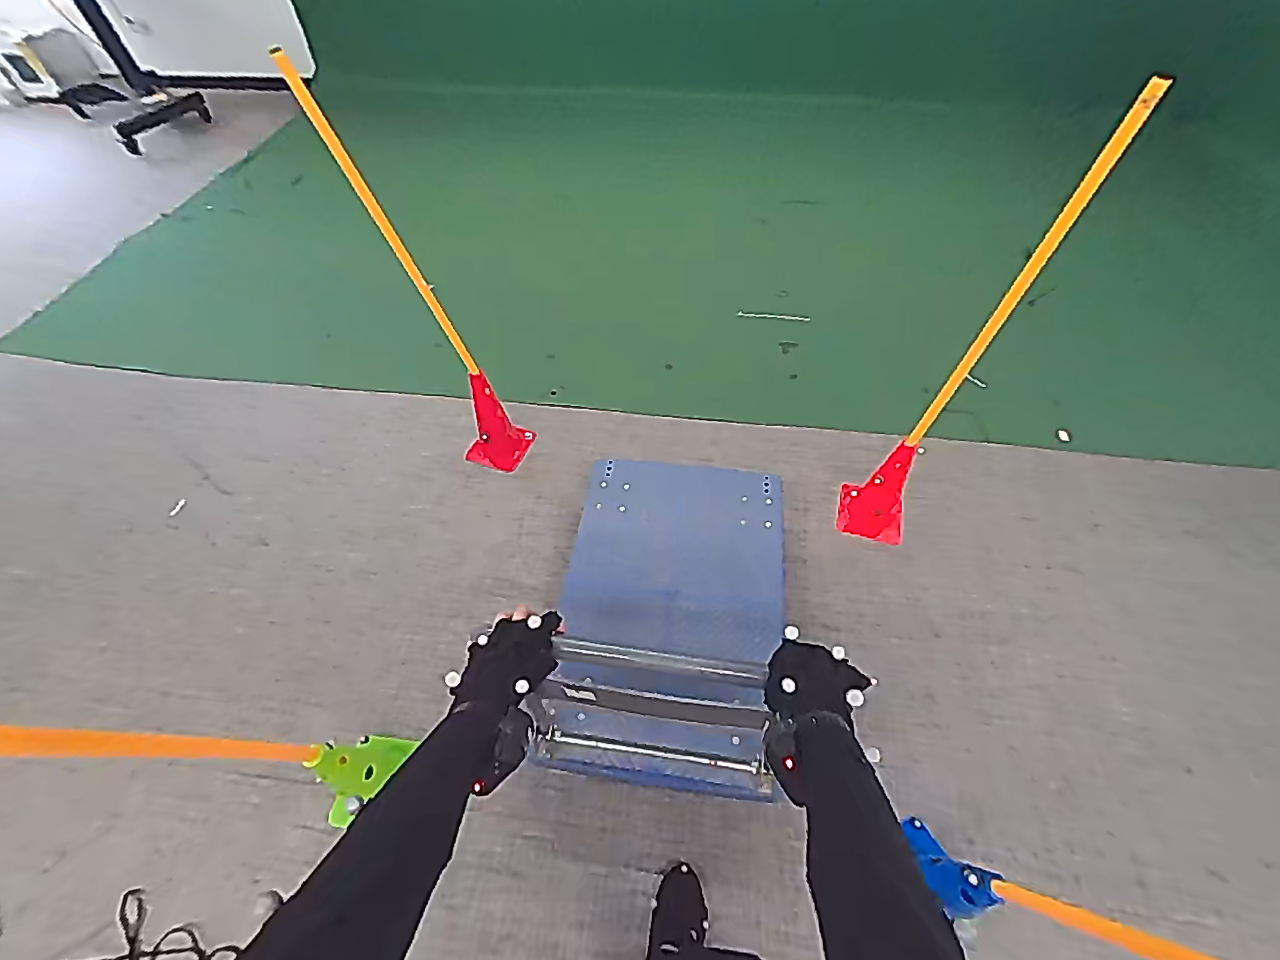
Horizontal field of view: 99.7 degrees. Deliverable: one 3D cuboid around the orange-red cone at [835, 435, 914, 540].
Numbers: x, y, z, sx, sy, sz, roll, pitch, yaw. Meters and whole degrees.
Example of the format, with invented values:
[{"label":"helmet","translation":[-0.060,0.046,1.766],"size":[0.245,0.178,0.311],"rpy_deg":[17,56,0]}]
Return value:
[{"label":"orange-red cone","translation":[0.741,-0.005,1.625],"size":[0.198,0.360,0.199],"rpy_deg":[14,56,12]}]
